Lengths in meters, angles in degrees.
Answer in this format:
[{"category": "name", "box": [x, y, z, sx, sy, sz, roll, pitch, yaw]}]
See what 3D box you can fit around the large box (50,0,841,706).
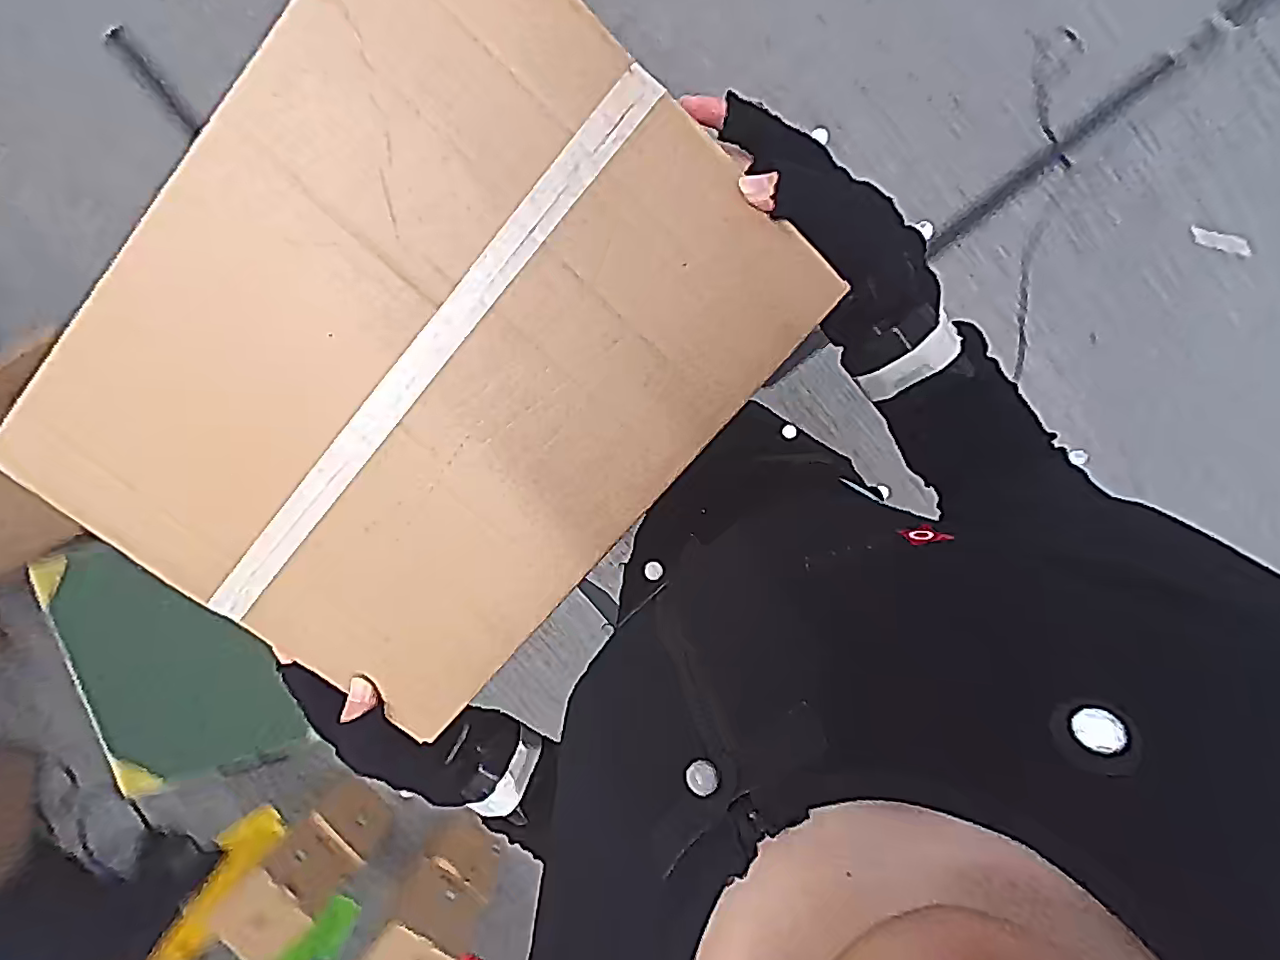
[{"category": "large box", "box": [-0.125, -0.111, 0.473, 0.320, 0.320, 0.408, 42, 98, -12]}]
